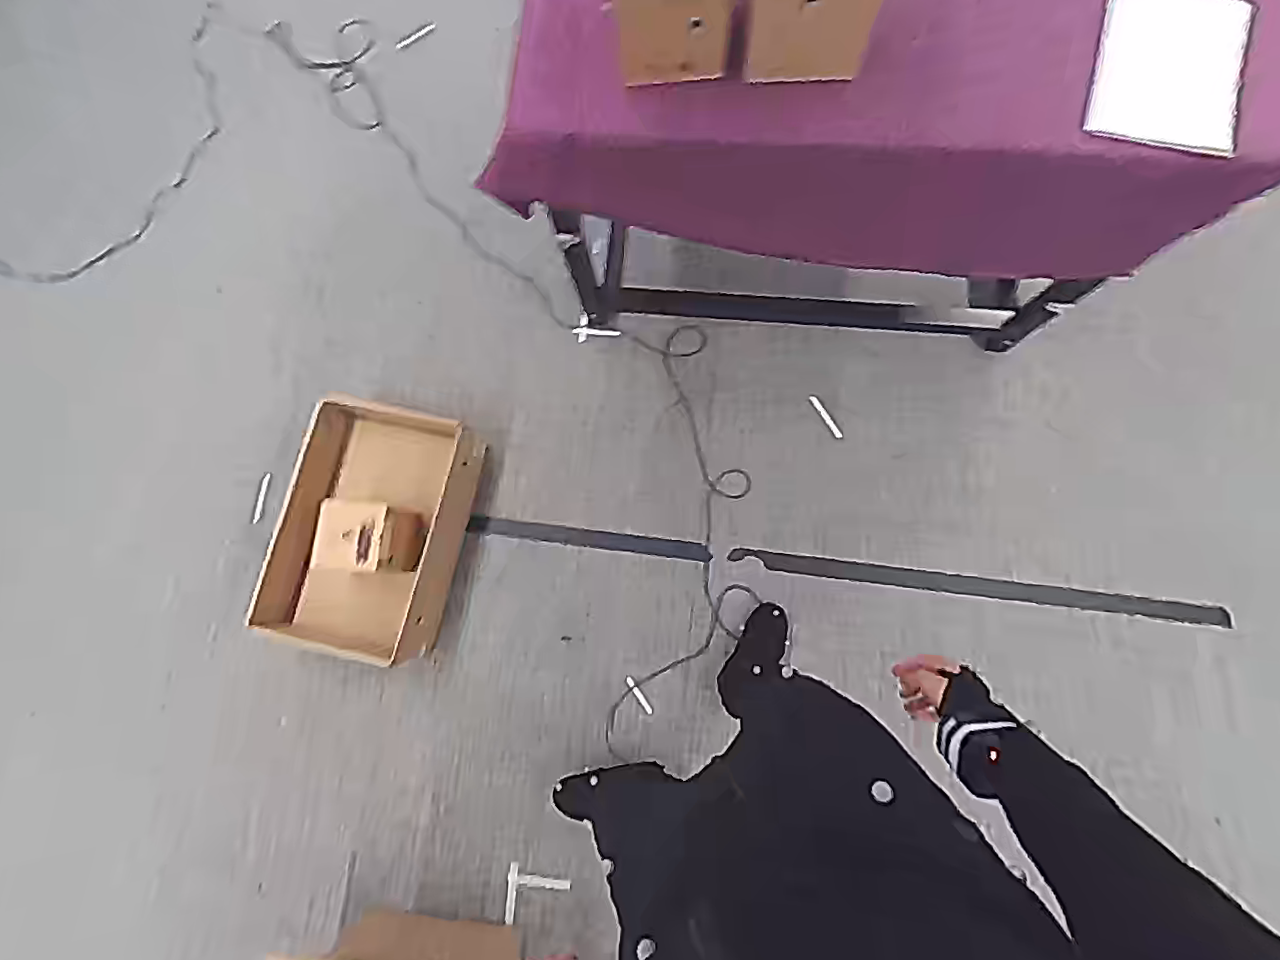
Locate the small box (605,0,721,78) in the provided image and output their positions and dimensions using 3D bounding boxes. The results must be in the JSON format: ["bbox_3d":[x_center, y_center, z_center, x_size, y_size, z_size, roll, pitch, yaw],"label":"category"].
[{"bbox_3d":[0.035,-0.740,0.807,0.168,0.176,0.179,-2,79,3],"label":"small box"}]
